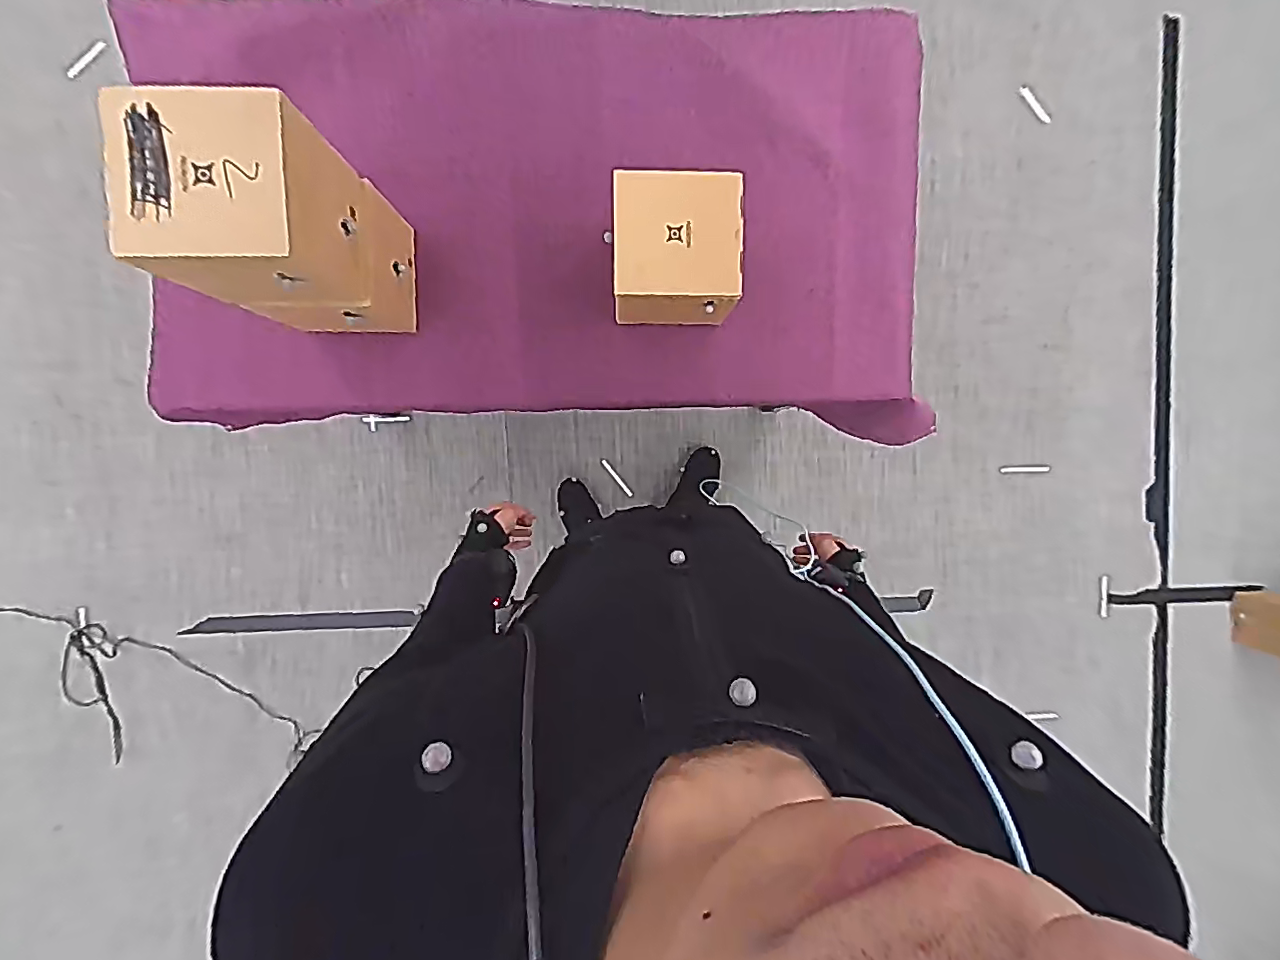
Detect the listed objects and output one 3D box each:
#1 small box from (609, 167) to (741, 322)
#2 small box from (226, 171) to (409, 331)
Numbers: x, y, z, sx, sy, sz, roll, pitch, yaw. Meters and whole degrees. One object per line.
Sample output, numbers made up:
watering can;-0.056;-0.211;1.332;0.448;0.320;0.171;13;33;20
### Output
small box;0.044;-0.334;0.799;0.179;0.176;0.168;0;94;-3
small box;-0.443;-0.315;0.774;0.179;0.176;0.168;0;94;-3
